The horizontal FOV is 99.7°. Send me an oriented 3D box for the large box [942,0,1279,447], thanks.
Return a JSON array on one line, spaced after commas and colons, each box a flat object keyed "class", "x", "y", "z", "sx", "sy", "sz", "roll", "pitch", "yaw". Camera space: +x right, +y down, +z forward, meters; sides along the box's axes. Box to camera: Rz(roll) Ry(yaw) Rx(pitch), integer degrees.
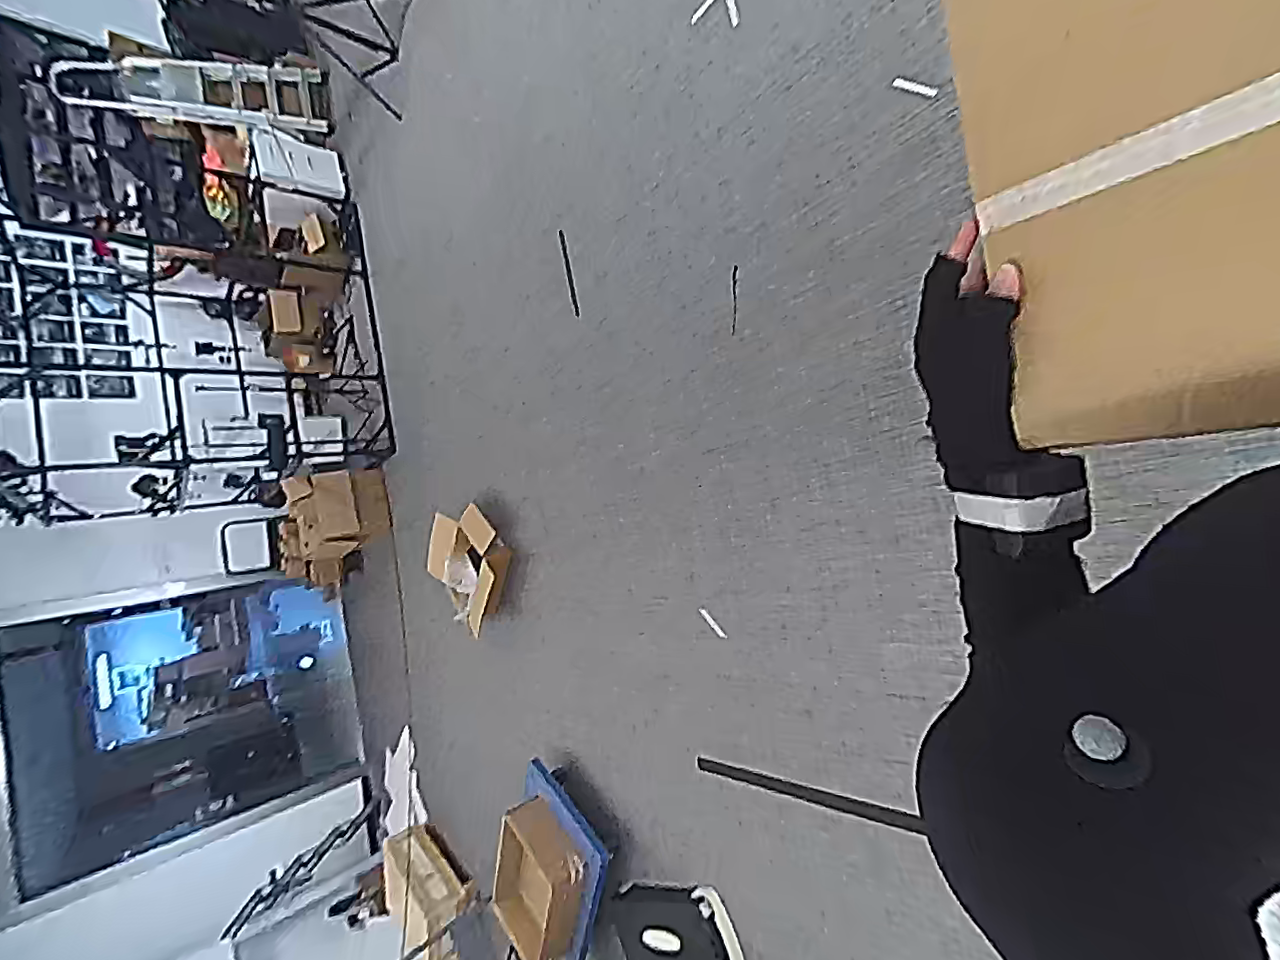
[{"class": "large box", "x": 0.466, "y": -0.221, "z": 0.301, "sx": 0.408, "sy": 0.320, "sz": 0.320, "roll": -8, "pitch": 95, "yaw": 52}]
